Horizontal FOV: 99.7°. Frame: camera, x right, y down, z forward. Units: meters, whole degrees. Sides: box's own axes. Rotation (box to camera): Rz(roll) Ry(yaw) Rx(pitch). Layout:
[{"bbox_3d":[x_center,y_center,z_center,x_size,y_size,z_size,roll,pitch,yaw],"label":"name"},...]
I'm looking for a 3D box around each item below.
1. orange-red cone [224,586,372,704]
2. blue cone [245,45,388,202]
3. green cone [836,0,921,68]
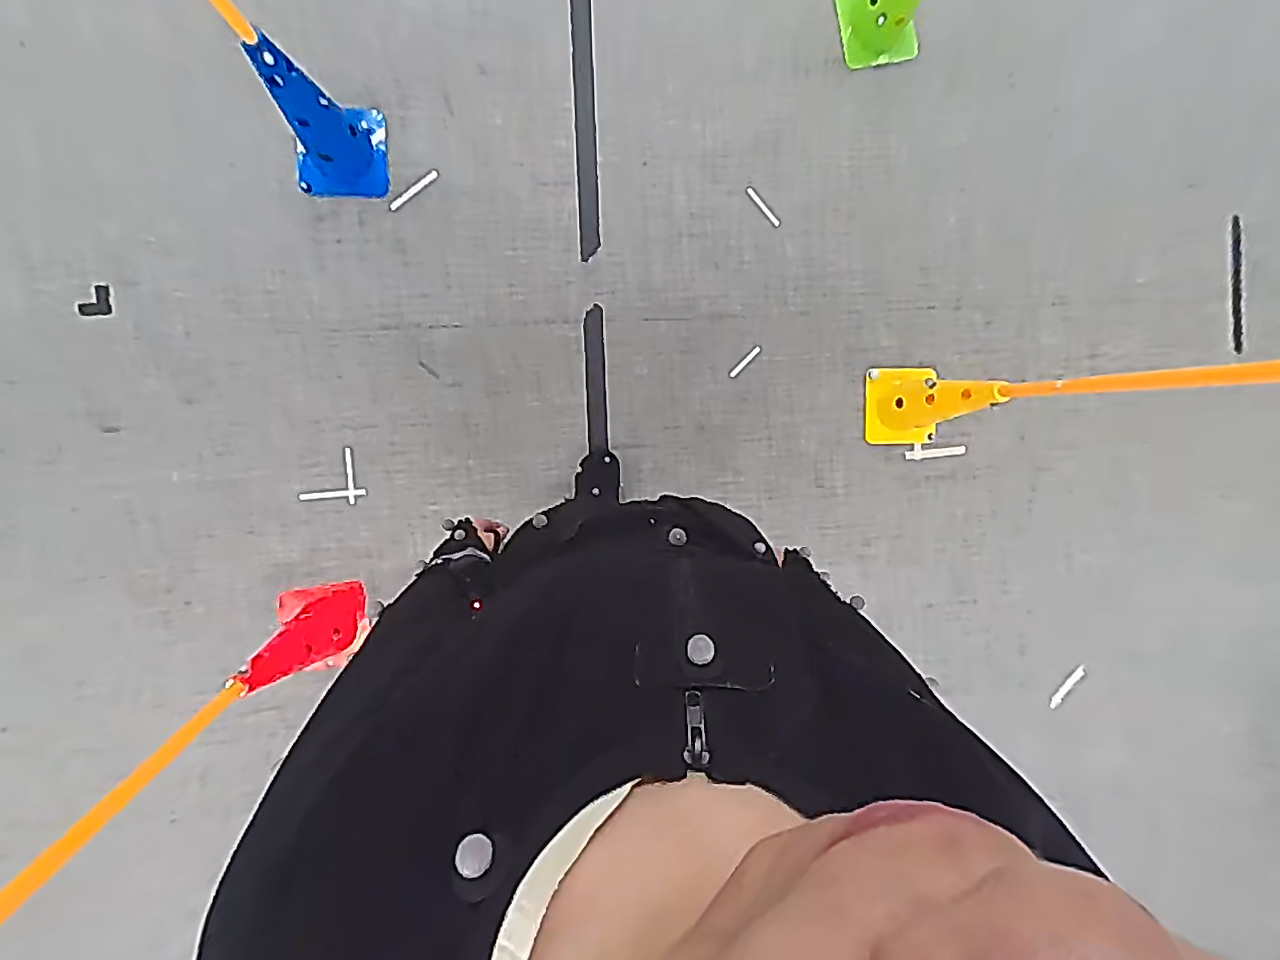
[{"bbox_3d":[-0.735,0.368,1.127,0.199,0.360,0.198,-8,94,-7],"label":"orange-red cone"},{"bbox_3d":[-0.673,-0.741,1.099,0.193,0.380,0.192,0,93,-6],"label":"blue cone"},{"bbox_3d":[0.623,-1.154,1.208,0.200,0.368,0.202,-14,96,-5],"label":"green cone"}]
